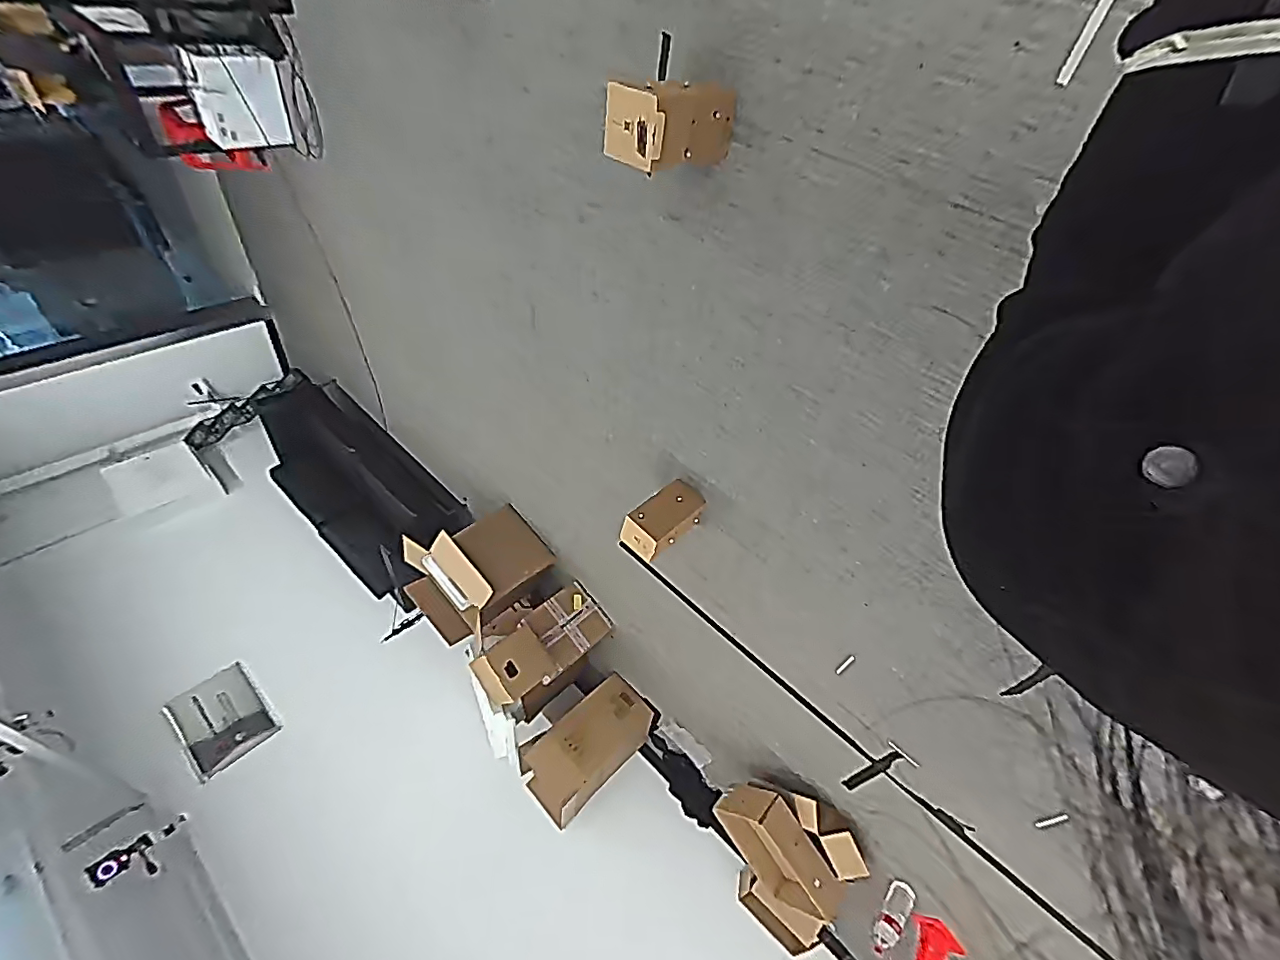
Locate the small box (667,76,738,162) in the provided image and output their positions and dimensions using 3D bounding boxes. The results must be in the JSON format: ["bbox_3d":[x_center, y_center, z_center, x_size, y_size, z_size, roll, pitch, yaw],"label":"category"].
[{"bbox_3d":[0.144,-1.004,1.495,0.179,0.176,0.168,36,140,27],"label":"small box"}]

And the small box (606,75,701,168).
[{"bbox_3d":[0.035,-0.931,1.396,0.179,0.176,0.168,36,140,26],"label":"small box"}]

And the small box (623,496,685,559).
[{"bbox_3d":[0.056,0.190,2.269,0.179,0.176,0.168,40,143,19],"label":"small box"}]
